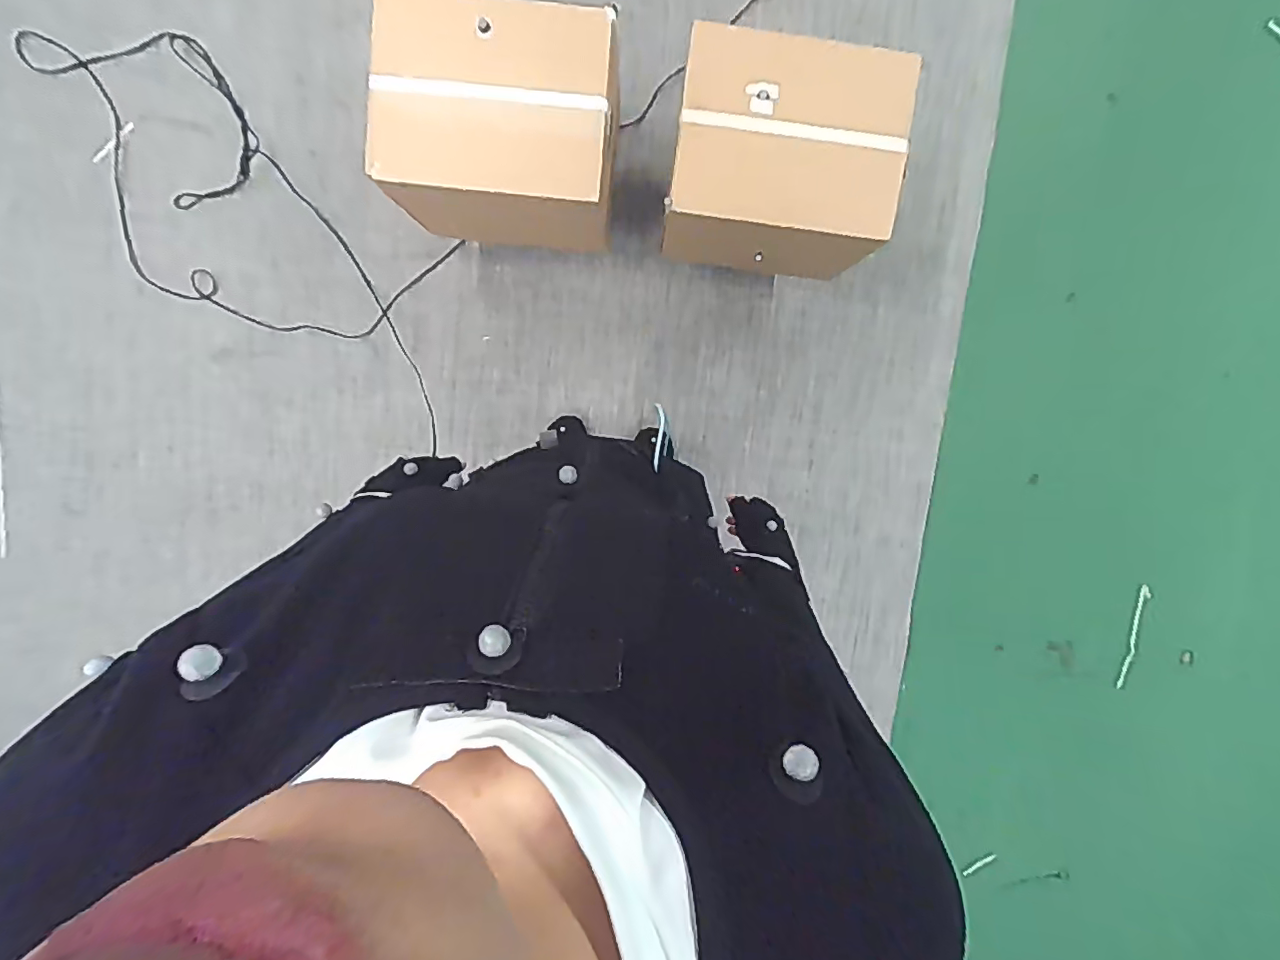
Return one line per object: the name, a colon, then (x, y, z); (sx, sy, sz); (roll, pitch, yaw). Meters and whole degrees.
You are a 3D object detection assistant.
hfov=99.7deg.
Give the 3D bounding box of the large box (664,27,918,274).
large box: (0.273, -0.633, 1.105); (0.408, 0.320, 0.320); (8, 97, -1)
